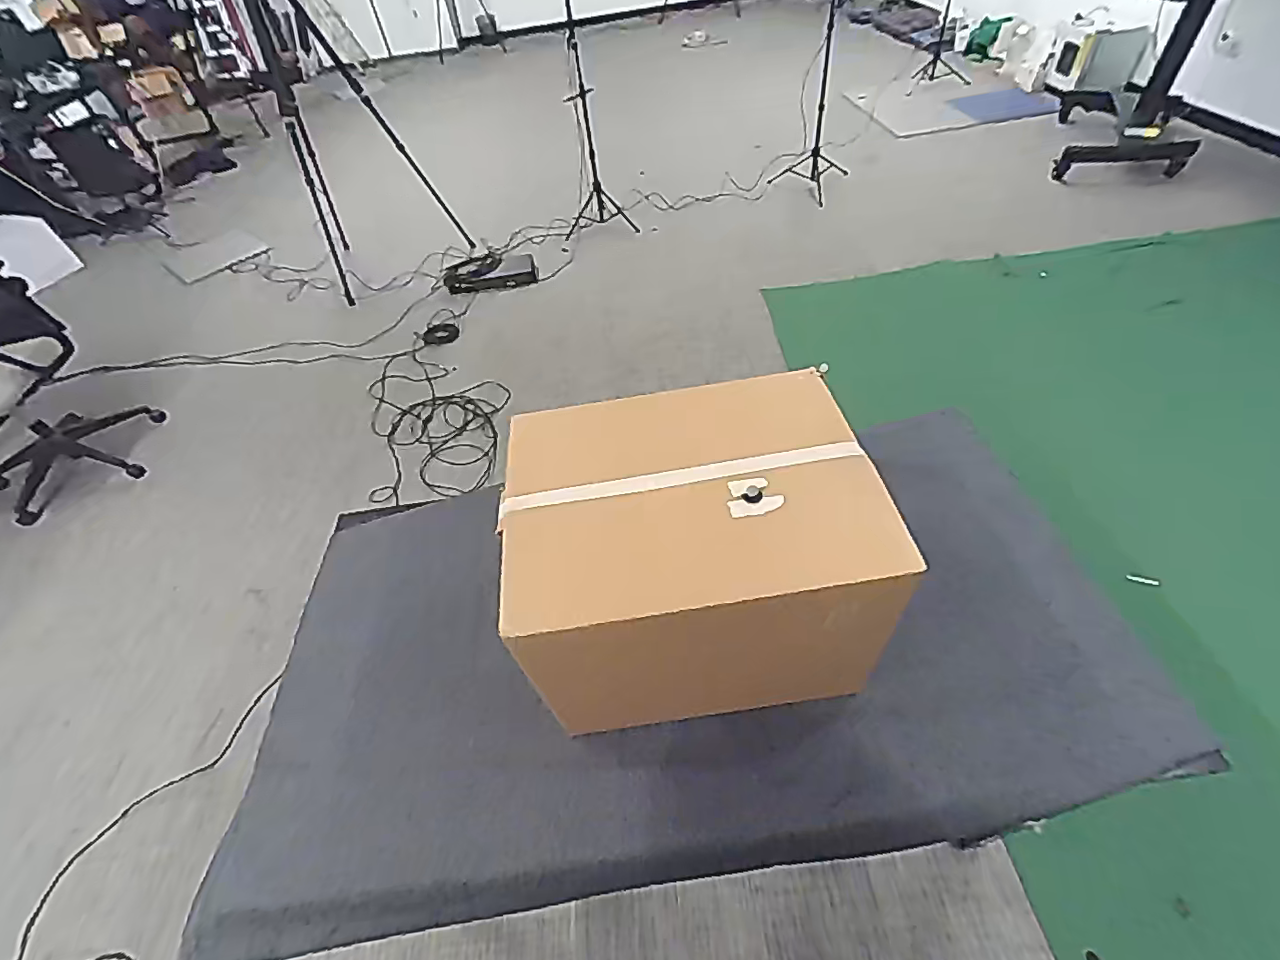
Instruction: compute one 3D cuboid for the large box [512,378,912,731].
[{"bbox_3d":[0.065,0.105,0.728,0.408,0.320,0.320,-9,49,0],"label":"large box"}]
